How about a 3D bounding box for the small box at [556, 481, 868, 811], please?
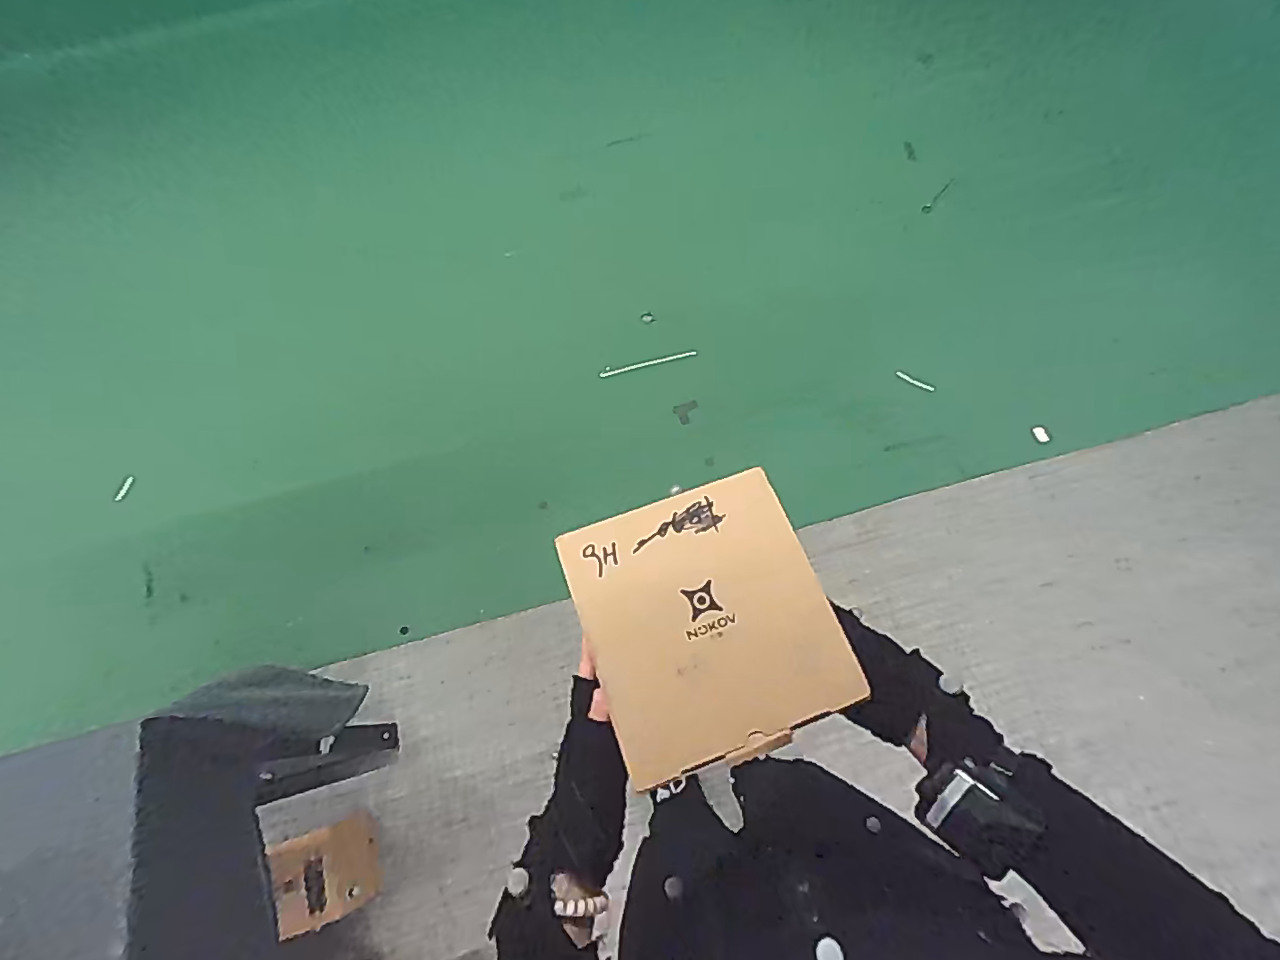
[{"bbox_3d":[0.044,0.127,0.437,0.168,0.176,0.179,-18,71,-7],"label":"small box"}]
